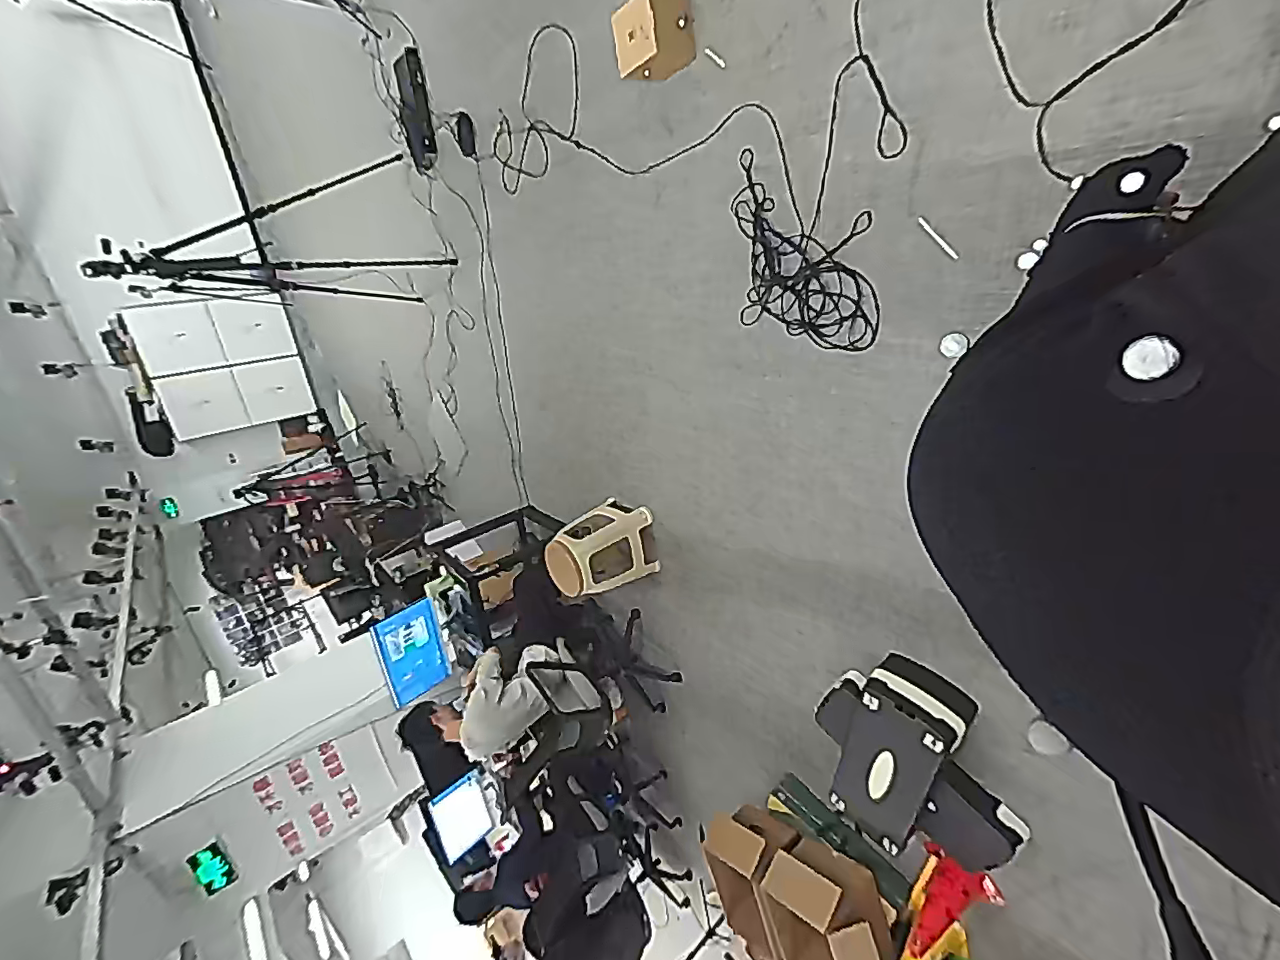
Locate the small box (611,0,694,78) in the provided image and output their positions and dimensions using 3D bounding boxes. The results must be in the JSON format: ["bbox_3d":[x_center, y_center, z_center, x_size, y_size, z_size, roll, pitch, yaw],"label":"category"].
[{"bbox_3d":[0.040,-1.359,1.648,0.179,0.176,0.168,10,118,50],"label":"small box"}]
